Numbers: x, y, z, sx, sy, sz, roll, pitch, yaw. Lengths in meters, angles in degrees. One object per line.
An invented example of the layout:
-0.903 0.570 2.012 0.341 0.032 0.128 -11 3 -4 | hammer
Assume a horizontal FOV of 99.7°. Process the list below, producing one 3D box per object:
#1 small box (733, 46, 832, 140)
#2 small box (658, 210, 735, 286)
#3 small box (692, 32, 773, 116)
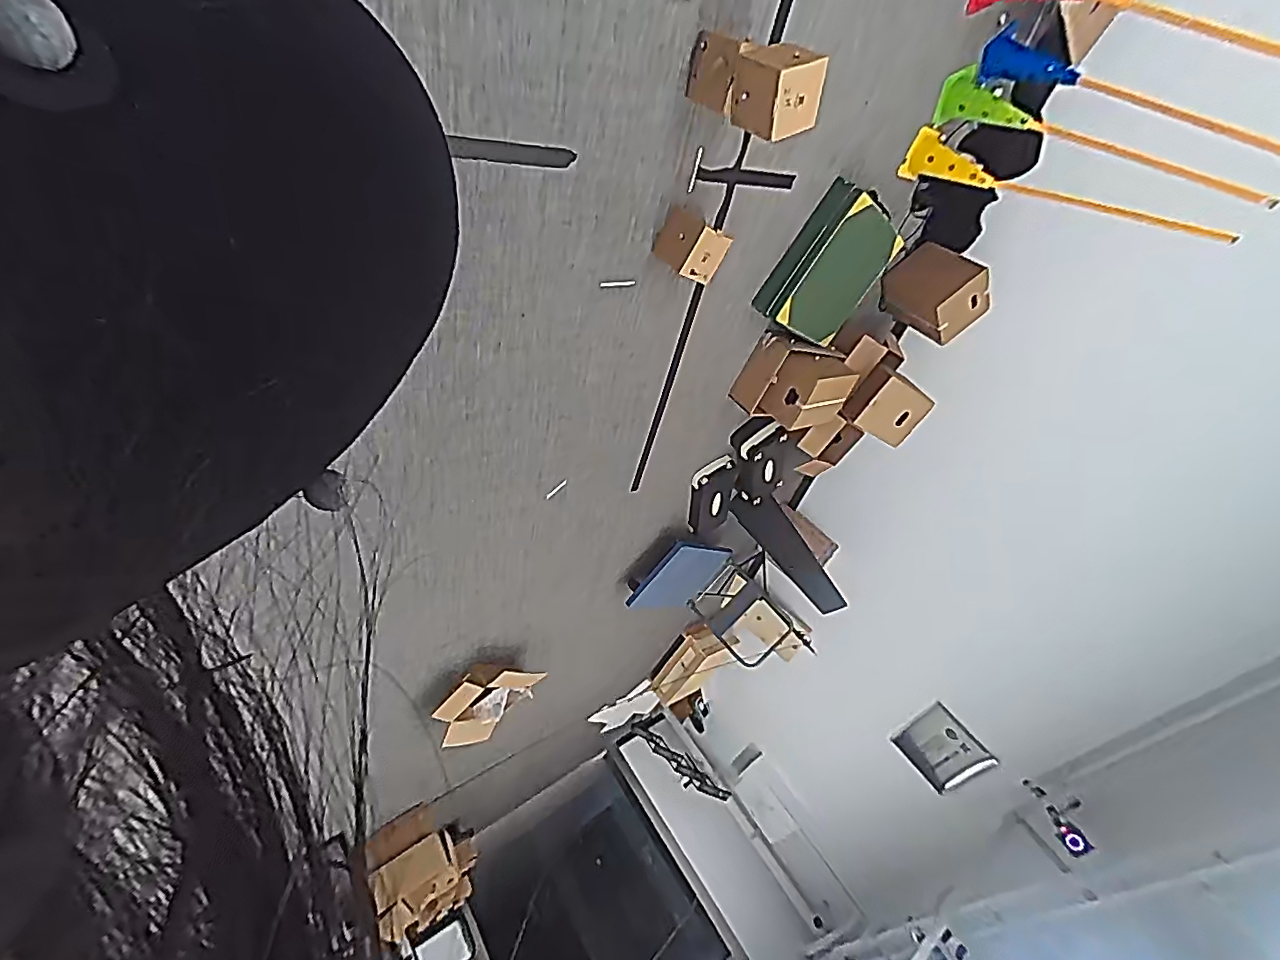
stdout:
0.381 -1.056 1.471 0.179 0.176 0.168 -26 145 -21 | small box
0.193 -0.816 1.899 0.168 0.176 0.179 -5 136 -46 | small box
0.277 -1.157 1.550 0.179 0.176 0.168 -20 144 -33 | small box
